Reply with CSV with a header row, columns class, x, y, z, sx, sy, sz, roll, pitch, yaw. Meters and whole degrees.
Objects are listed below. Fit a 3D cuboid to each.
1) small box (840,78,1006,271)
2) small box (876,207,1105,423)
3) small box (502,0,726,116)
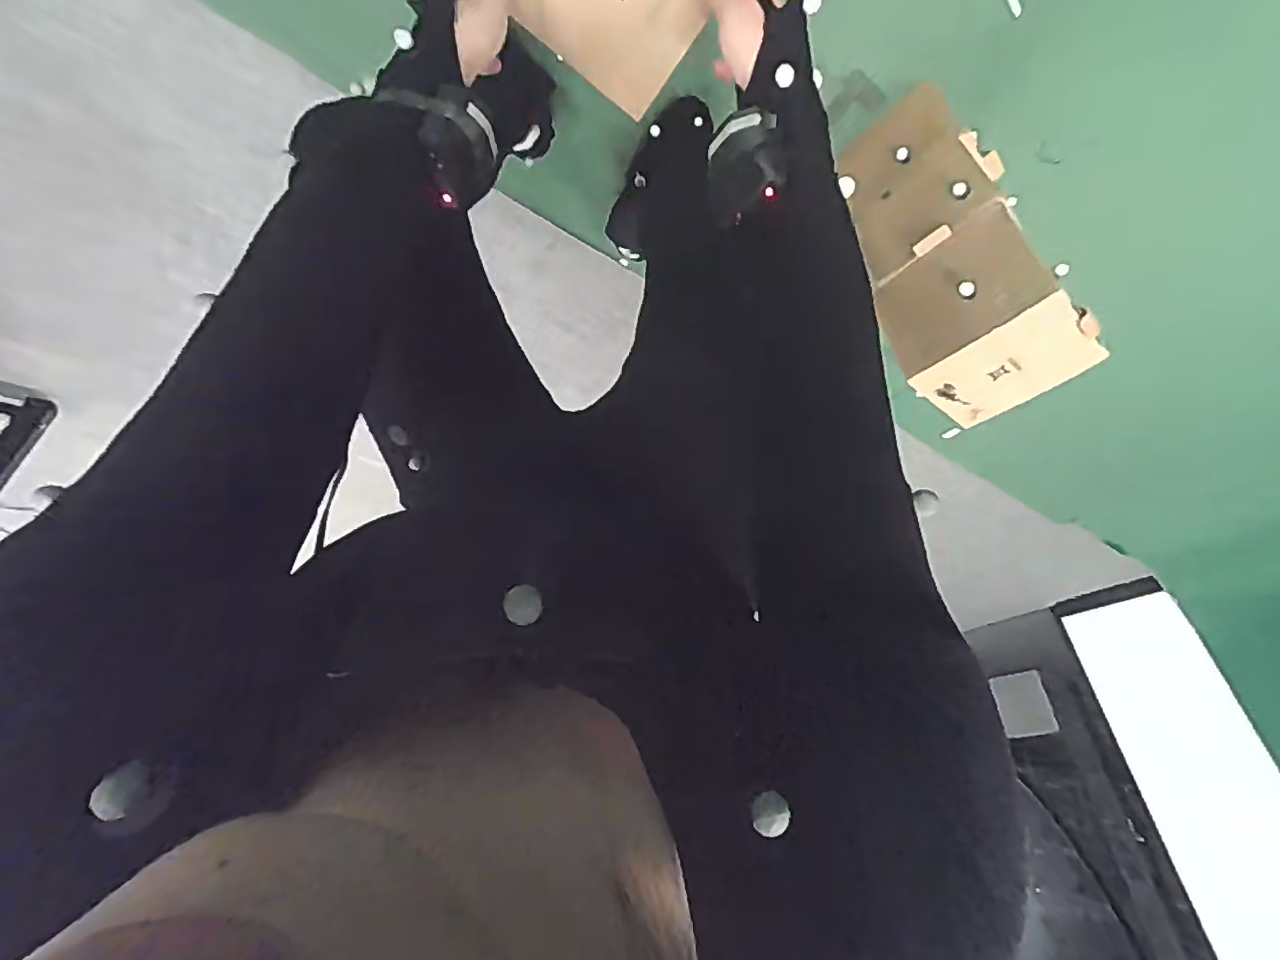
class,x,y,z,sx,sy,sz,roll,pitch,yaw
small box,0.446,-0.490,0.879,0.168,0.176,0.179,25,138,-37
small box,0.444,-0.210,0.706,0.168,0.176,0.179,21,140,-34
small box,-0.018,-0.510,0.514,0.179,0.176,0.168,20,142,-32
